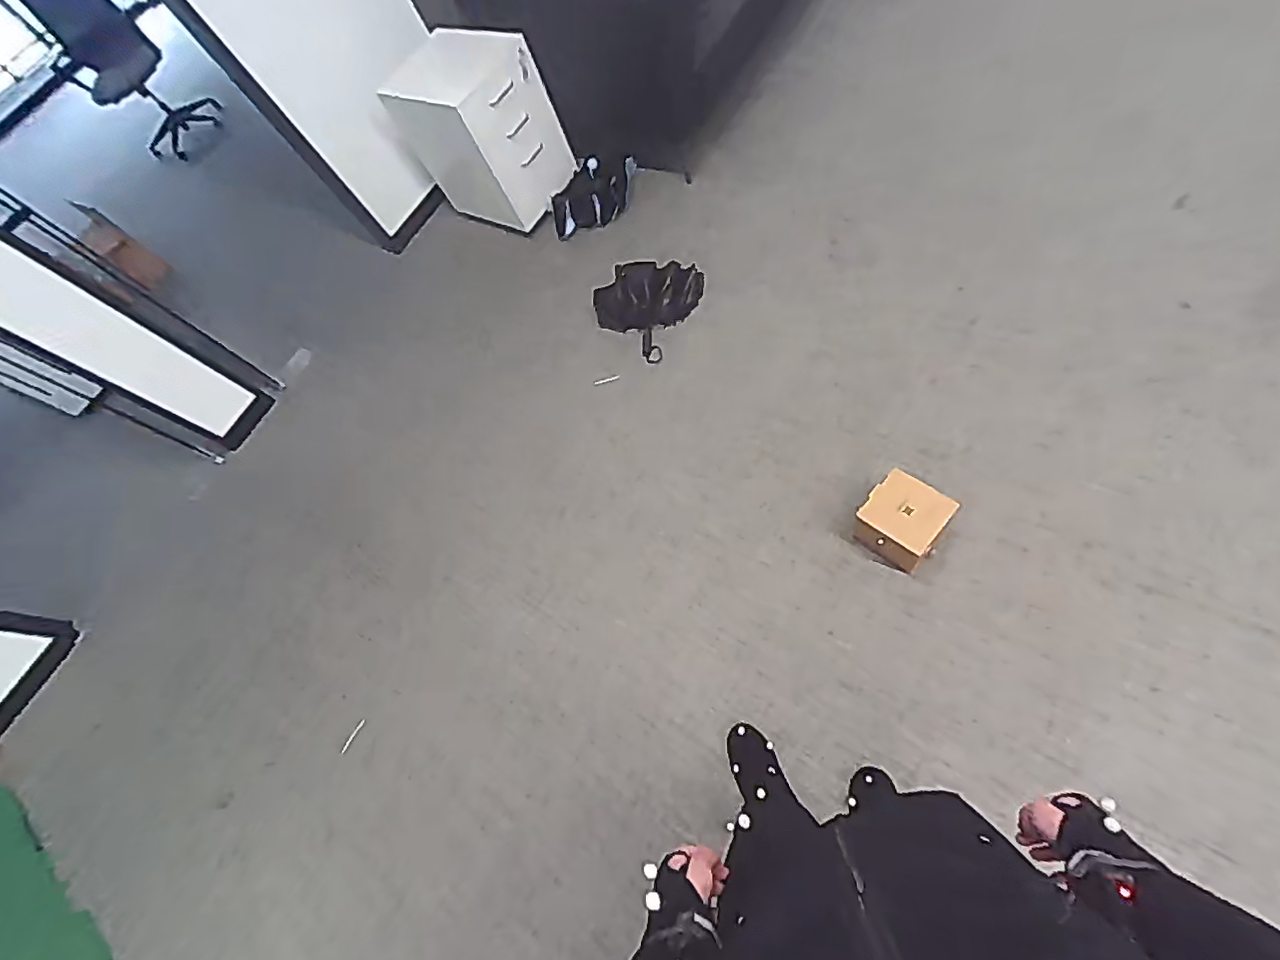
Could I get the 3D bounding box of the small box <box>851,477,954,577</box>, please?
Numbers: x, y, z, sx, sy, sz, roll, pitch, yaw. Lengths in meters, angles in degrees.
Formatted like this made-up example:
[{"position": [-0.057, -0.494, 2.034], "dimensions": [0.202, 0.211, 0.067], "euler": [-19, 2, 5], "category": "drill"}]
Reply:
[{"position": [0.669, 0.129, 1.403], "dimensions": [0.179, 0.176, 0.168], "euler": [38, 82, 28], "category": "small box"}]
